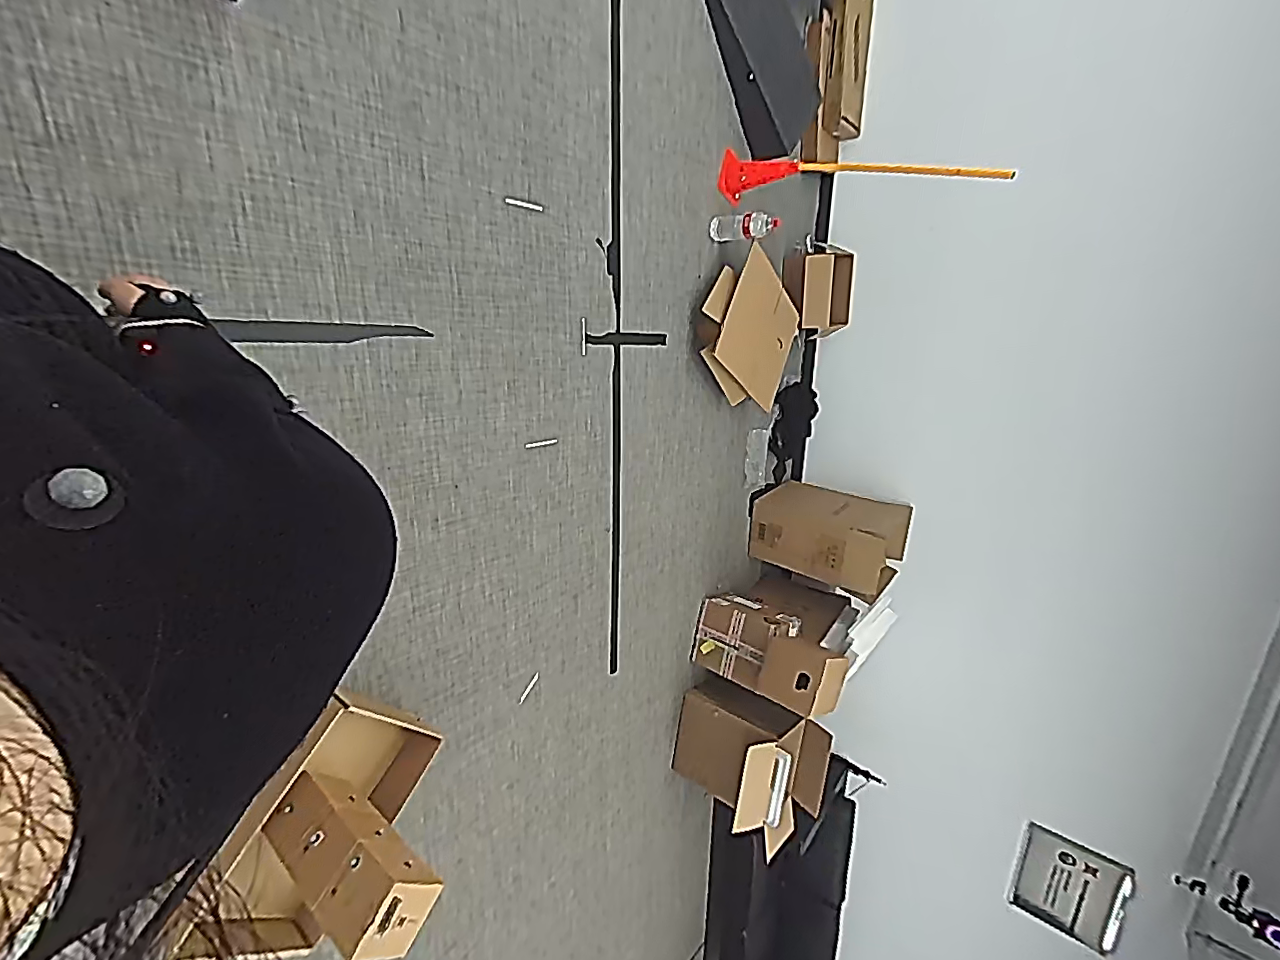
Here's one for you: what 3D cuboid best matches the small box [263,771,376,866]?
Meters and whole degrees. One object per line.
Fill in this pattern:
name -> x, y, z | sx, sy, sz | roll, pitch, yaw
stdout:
small box -> -0.878, 0.933, 1.486 | 0.168, 0.176, 0.179 | -58, 140, -23

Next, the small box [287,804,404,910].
small box -> -0.752, 0.966, 1.390 | 0.168, 0.176, 0.179 | -59, 140, -23

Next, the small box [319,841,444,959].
small box -> -0.620, 0.999, 1.297 | 0.168, 0.176, 0.179 | -60, 142, -22
